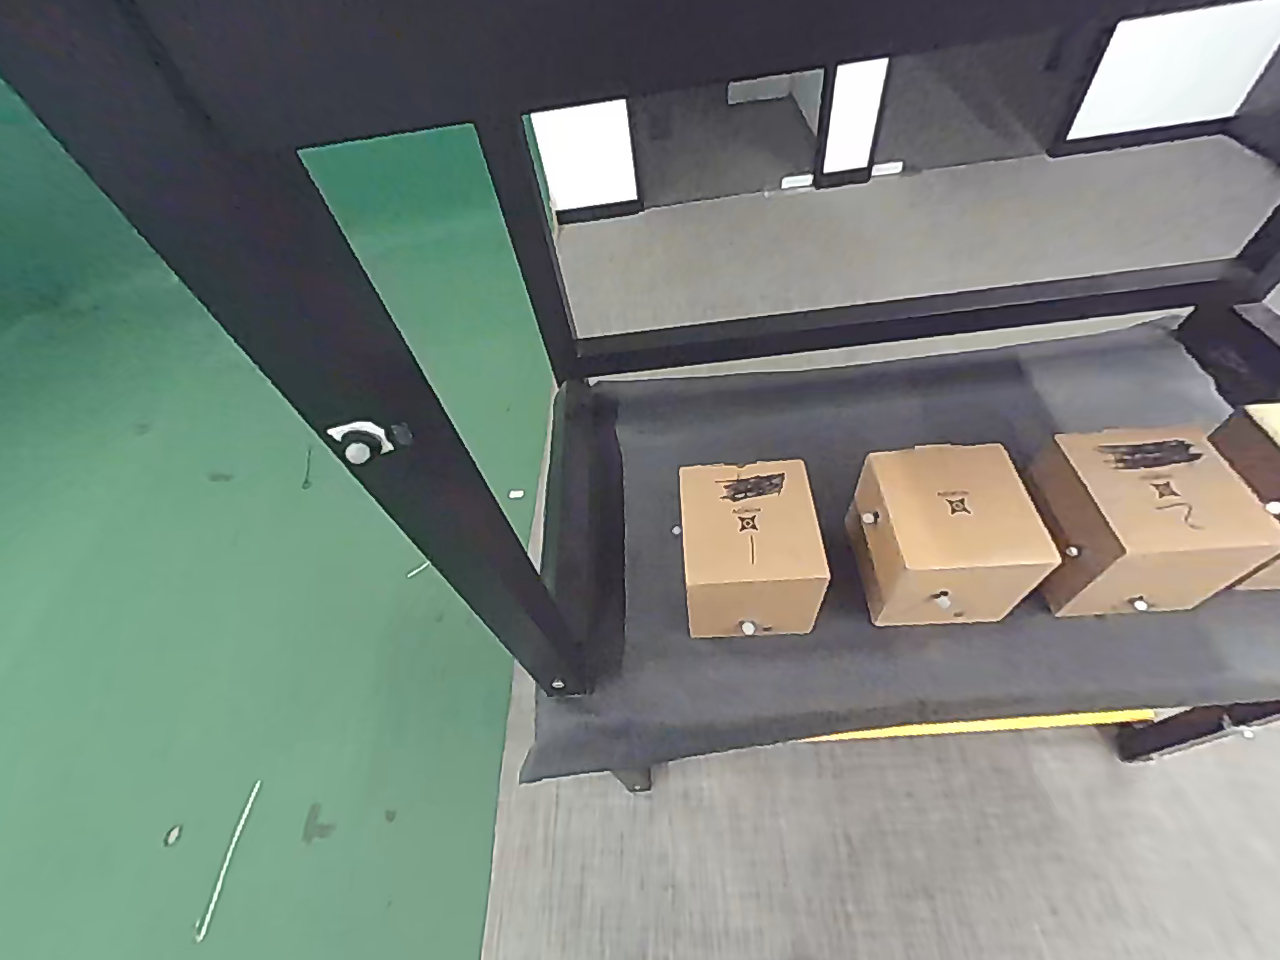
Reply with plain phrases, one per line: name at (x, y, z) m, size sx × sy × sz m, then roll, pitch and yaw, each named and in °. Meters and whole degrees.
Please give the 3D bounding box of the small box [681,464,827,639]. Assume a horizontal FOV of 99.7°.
small box at (0.142, 0.100, 0.733) m, size 0.168 × 0.176 × 0.179 m, roll -4°, pitch 53°, yaw 6°

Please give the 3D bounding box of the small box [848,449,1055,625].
small box at (0.386, 0.082, 0.710) m, size 0.168 × 0.176 × 0.179 m, roll -3°, pitch 51°, yaw 6°

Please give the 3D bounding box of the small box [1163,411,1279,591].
small box at (0.834, 0.030, 0.677) m, size 0.168 × 0.176 × 0.179 m, roll -3°, pitch 51°, yaw 7°
